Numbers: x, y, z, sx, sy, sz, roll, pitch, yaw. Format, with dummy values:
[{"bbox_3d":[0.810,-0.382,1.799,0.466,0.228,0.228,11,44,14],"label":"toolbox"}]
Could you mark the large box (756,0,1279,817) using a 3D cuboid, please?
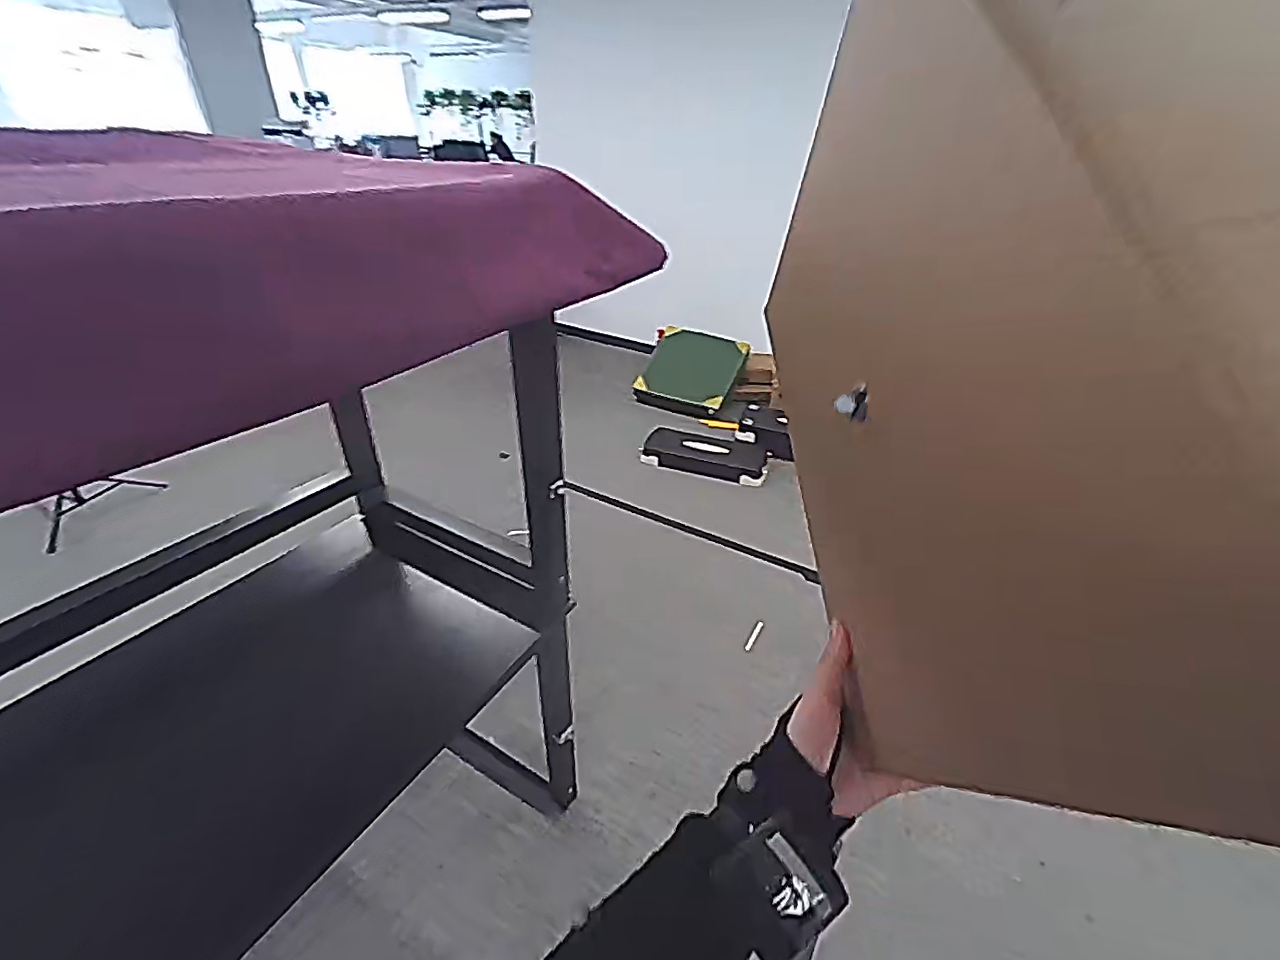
[{"bbox_3d":[0.276,-0.071,0.311,0.320,0.320,0.408,-5,65,-3],"label":"large box"}]
